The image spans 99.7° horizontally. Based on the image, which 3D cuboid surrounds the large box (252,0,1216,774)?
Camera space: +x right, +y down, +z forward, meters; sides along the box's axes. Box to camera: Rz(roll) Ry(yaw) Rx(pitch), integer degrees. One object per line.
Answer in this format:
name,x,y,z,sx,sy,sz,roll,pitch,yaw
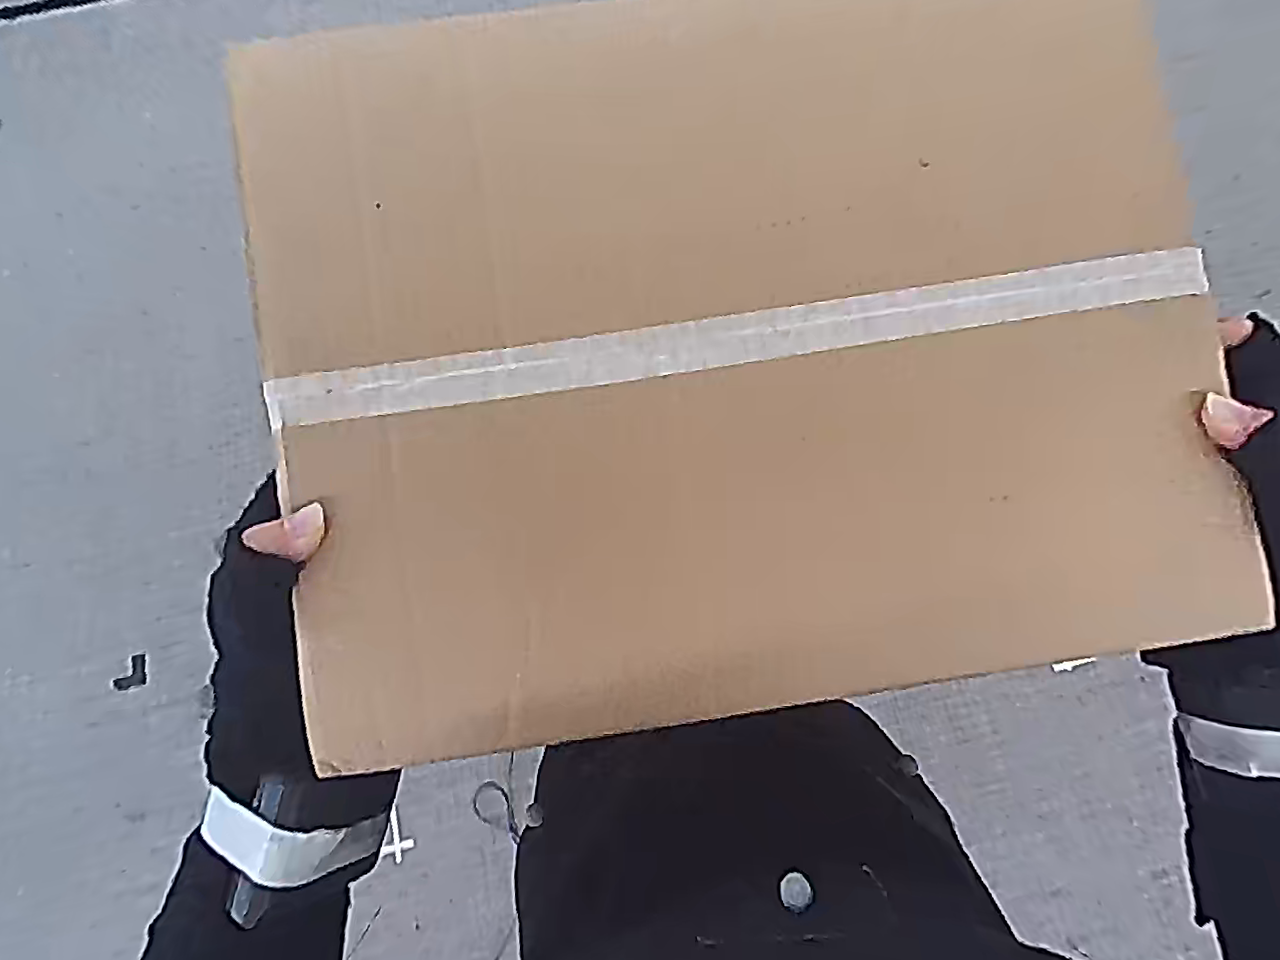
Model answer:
large box,0.041,-0.050,0.392,0.408,0.320,0.320,-9,87,-1
